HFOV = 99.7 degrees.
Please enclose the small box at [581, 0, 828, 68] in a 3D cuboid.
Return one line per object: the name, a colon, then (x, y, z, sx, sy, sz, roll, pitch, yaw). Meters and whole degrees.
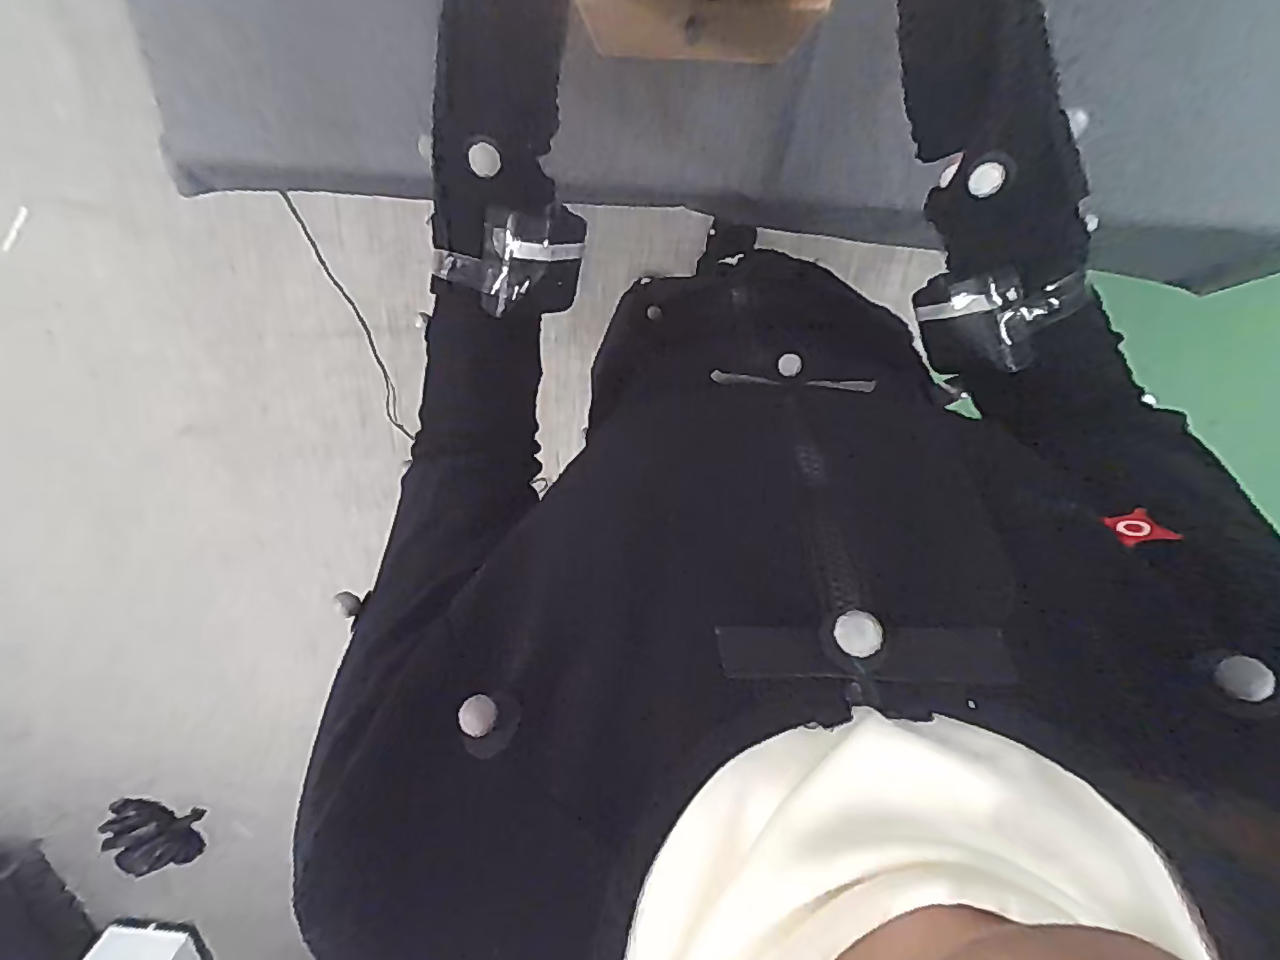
small box: (0.050, -0.436, 0.415, 0.179, 0.176, 0.168, 2, 117, 0)
